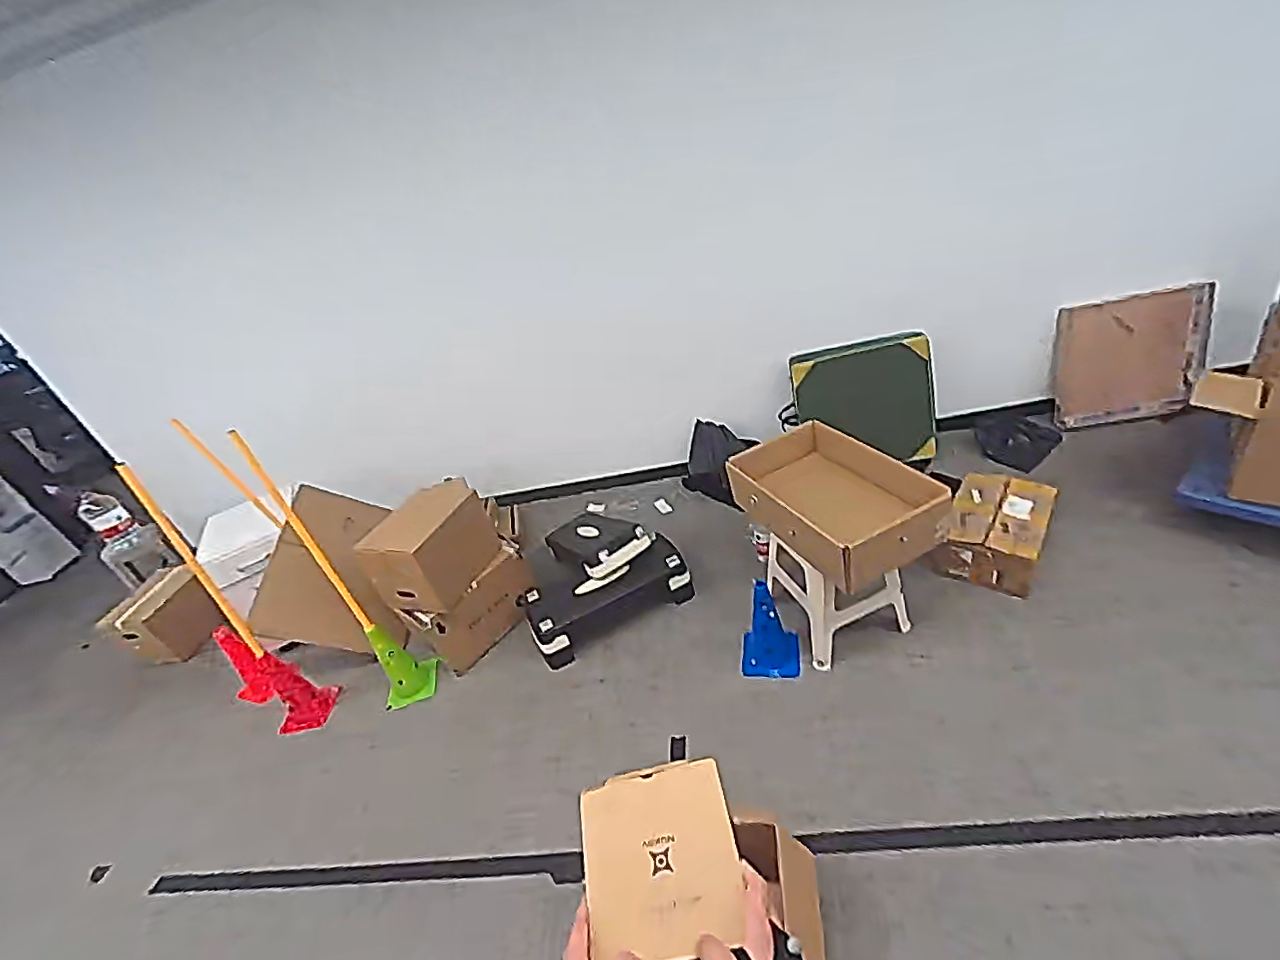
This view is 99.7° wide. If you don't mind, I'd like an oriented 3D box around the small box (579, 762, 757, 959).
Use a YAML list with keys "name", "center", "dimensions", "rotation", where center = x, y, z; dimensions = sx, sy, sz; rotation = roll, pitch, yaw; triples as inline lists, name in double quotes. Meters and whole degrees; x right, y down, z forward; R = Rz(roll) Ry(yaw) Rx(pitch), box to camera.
- name: "small box"
  center: [0.030, 0.465, 0.623]
  dimensions: [0.168, 0.176, 0.179]
  rotation: [-13, 37, -1]
